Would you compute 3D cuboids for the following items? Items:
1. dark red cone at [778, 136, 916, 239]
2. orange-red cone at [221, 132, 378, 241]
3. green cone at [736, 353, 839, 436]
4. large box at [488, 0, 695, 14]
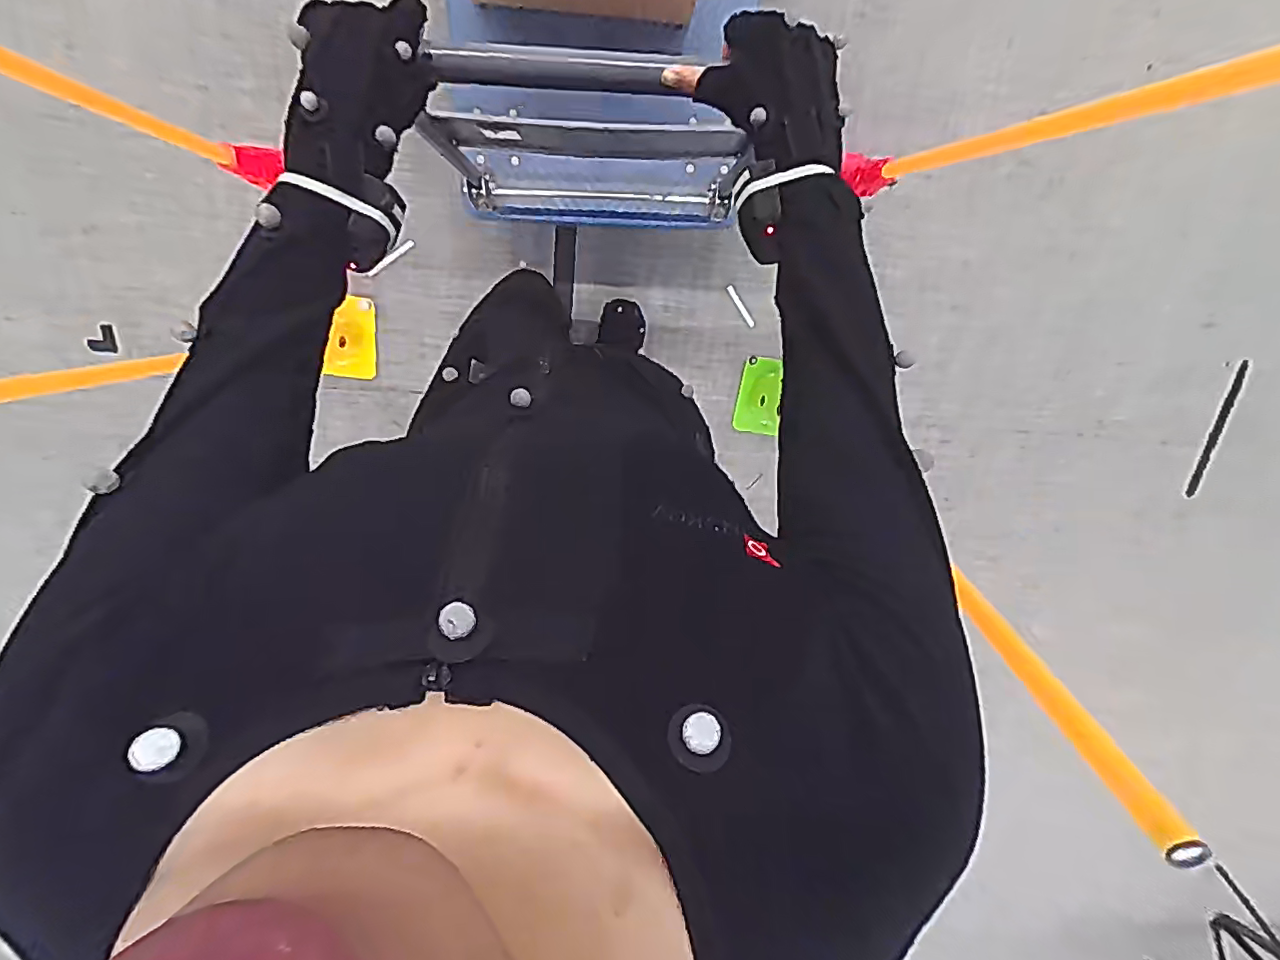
[{"bbox_3d":[0.434,-0.614,1.092,0.201,0.394,0.202,3,110,-5],"label":"dark red cone"},{"bbox_3d":[-0.700,-0.614,1.079,0.198,0.360,0.199,11,108,-7],"label":"orange-red cone"},{"bbox_3d":[0.374,-0.167,1.272,0.202,0.368,0.200,7,110,-6],"label":"green cone"},{"bbox_3d":[-0.091,-0.963,0.814,0.408,0.320,0.320,3,111,-2],"label":"large box"}]
